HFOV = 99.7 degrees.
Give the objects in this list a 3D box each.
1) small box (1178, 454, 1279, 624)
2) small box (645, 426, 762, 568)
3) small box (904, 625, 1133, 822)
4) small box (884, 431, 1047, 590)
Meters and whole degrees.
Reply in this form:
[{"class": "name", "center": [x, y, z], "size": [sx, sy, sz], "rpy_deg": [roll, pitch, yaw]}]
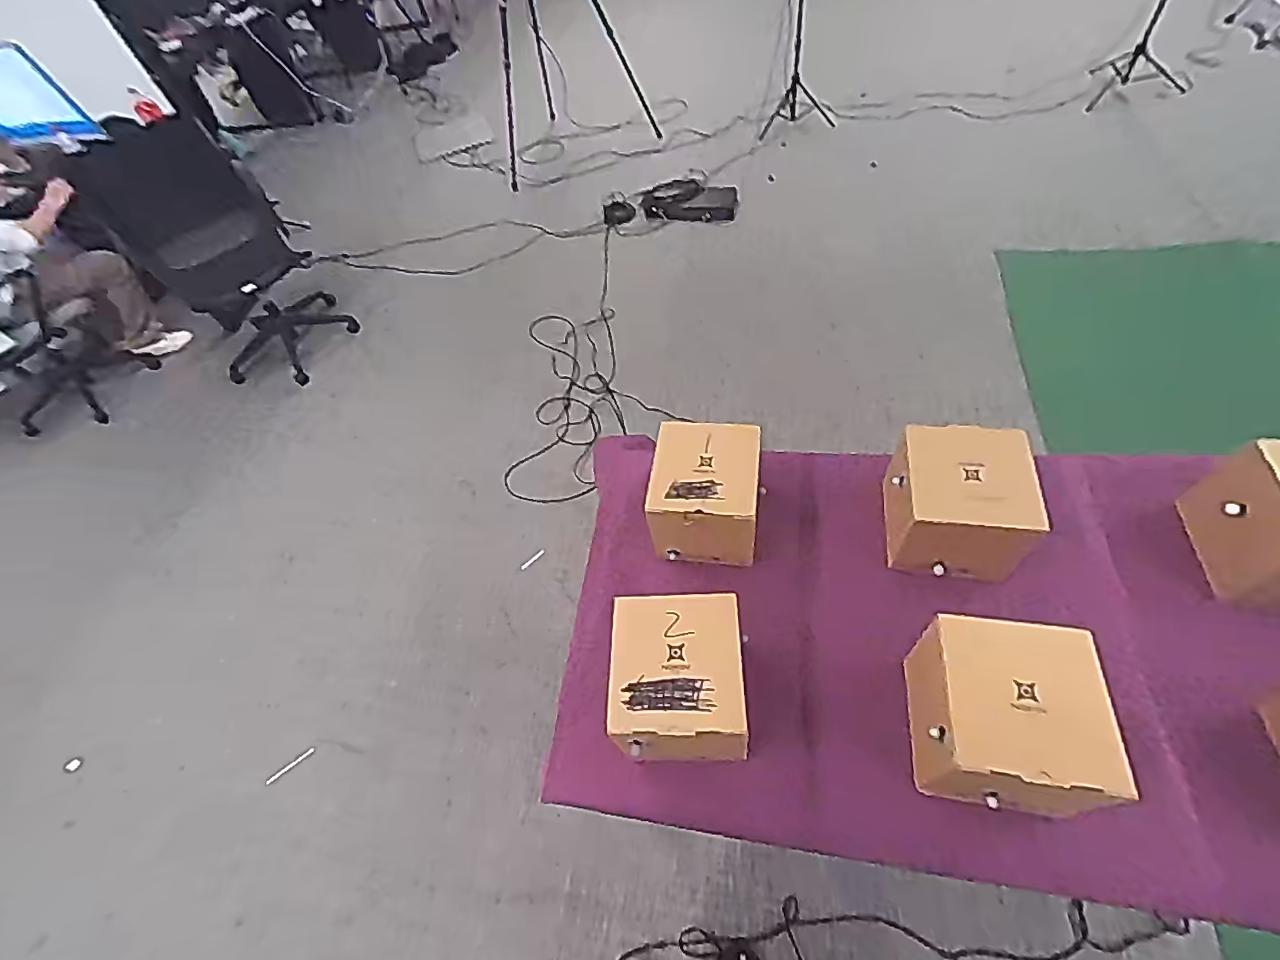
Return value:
[{"class": "small box", "center": [0.907, 0.087, 0.742], "size": [0.168, 0.176, 0.179], "rpy_deg": [4, 56, 12]}, {"class": "small box", "center": [0.112, 0.032, 0.900], "size": [0.168, 0.176, 0.179], "rpy_deg": [5, 57, 11]}, {"class": "small box", "center": [0.439, 0.302, 0.667], "size": [0.168, 0.176, 0.179], "rpy_deg": [5, 56, 12]}, {"class": "small box", "center": [0.483, 0.049, 0.836], "size": [0.168, 0.176, 0.179], "rpy_deg": [5, 58, 13]}]
